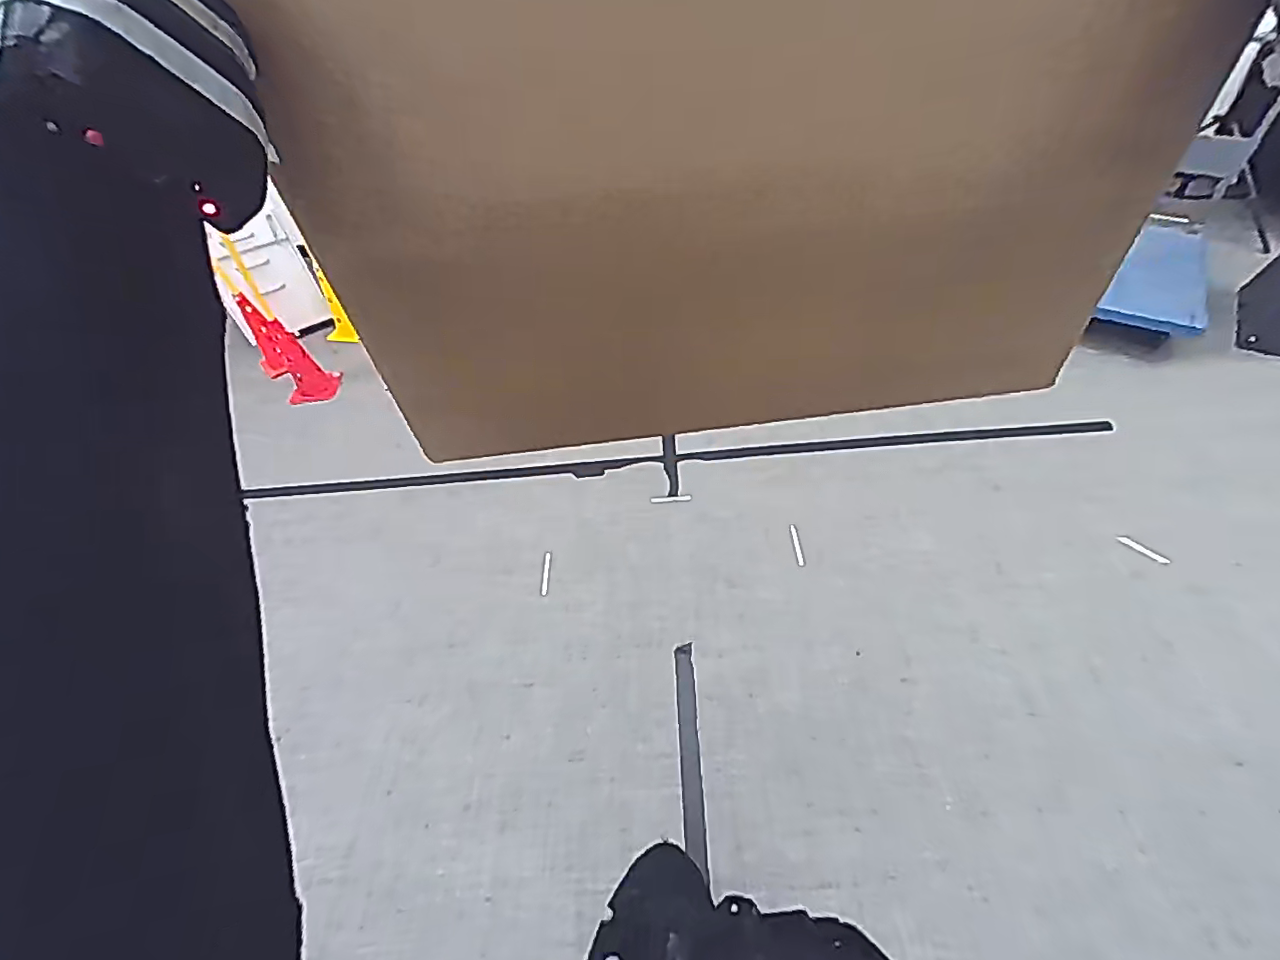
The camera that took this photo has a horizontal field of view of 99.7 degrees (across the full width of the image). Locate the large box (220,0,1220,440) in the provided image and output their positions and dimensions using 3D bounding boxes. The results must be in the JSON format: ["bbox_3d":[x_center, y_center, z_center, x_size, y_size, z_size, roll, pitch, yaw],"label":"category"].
[{"bbox_3d":[0.033,-0.255,0.348,0.408,0.320,0.320,-7,47,0],"label":"large box"}]
